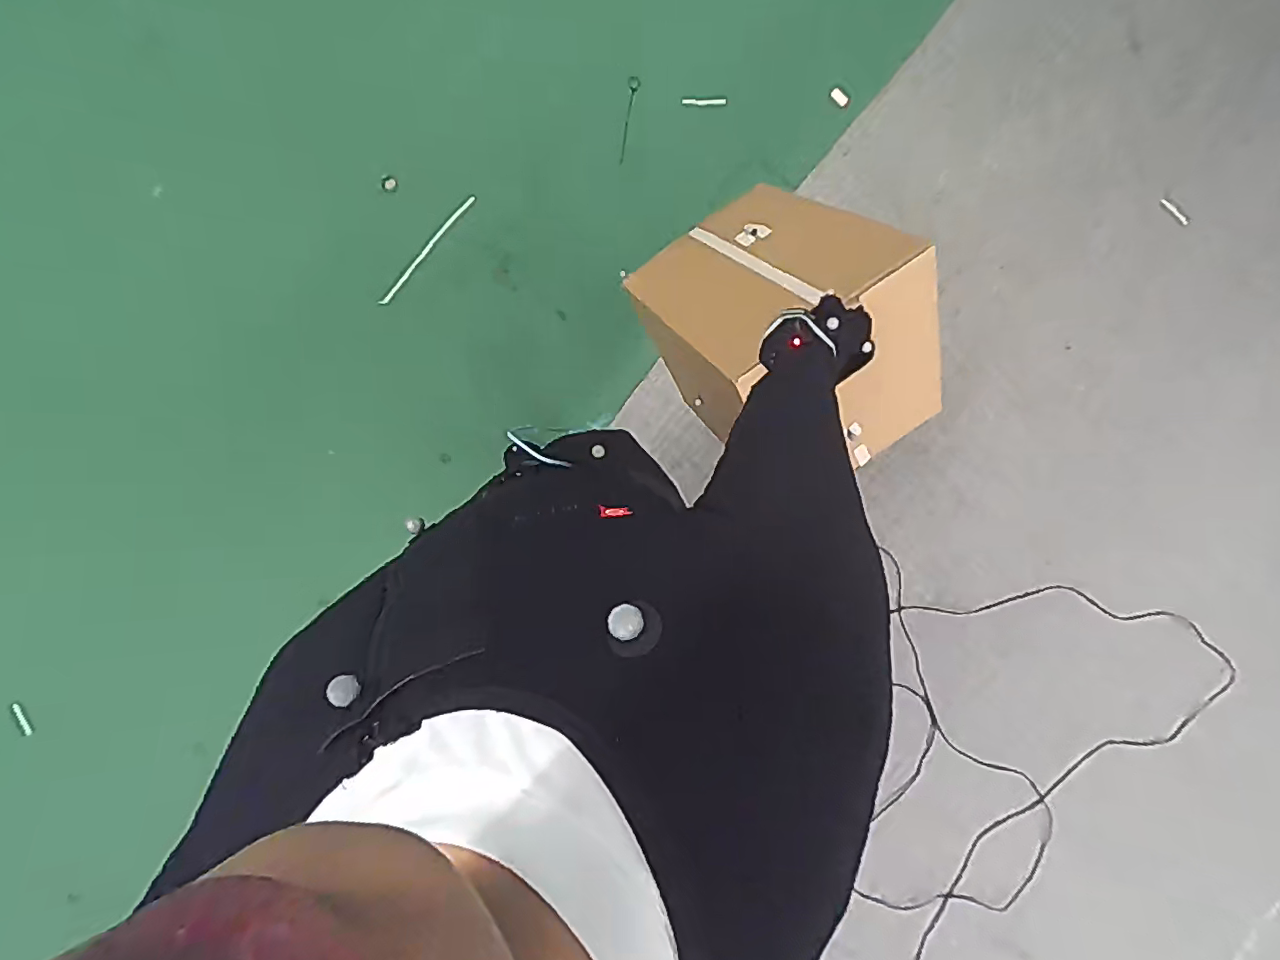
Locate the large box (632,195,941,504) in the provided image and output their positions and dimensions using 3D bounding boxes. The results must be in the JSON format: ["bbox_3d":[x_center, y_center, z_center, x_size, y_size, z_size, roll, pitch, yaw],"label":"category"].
[{"bbox_3d":[0.246,-0.236,0.948,0.320,0.408,0.320,-33,133,0],"label":"large box"}]
